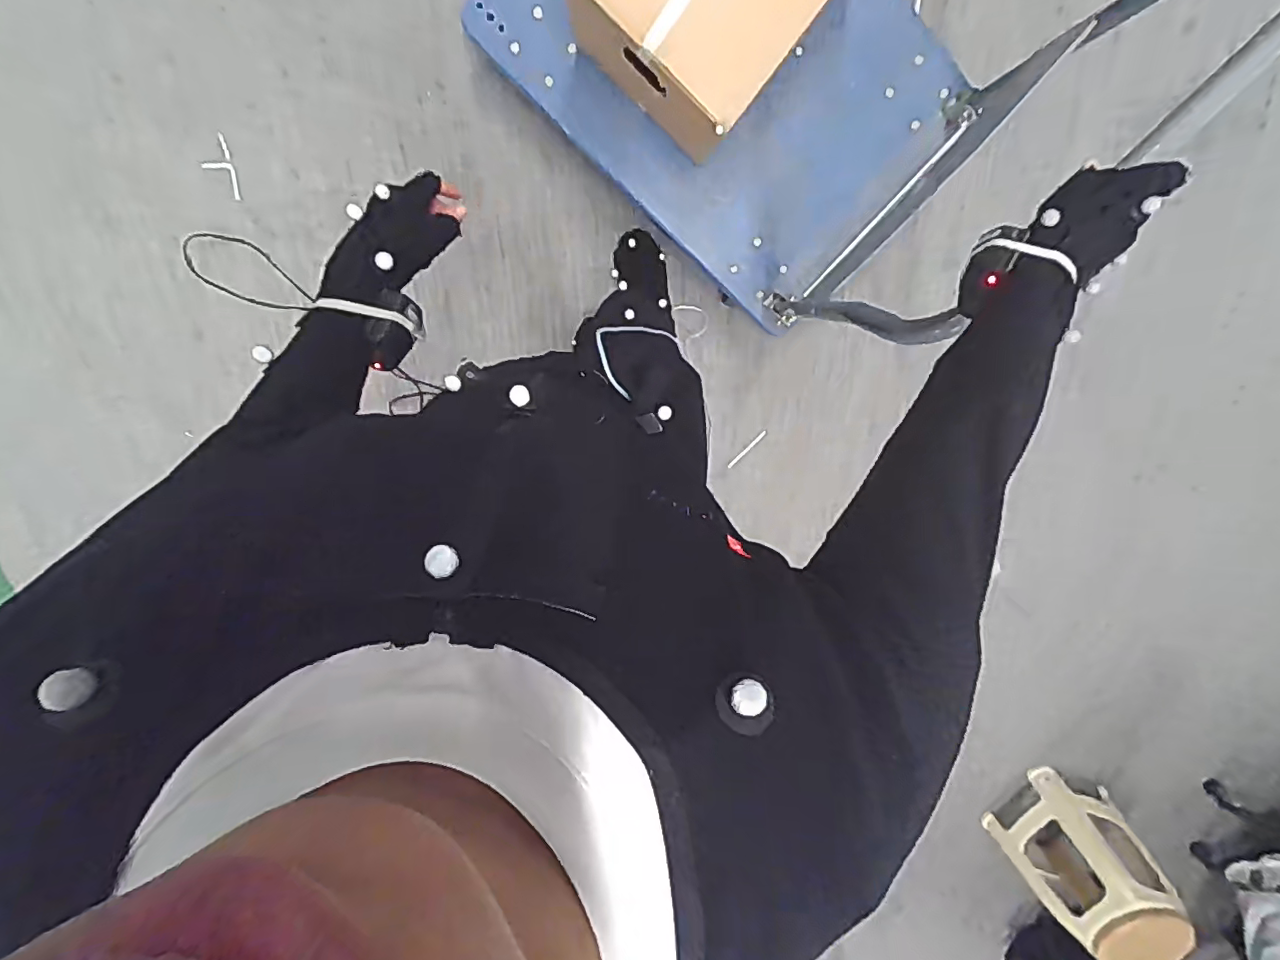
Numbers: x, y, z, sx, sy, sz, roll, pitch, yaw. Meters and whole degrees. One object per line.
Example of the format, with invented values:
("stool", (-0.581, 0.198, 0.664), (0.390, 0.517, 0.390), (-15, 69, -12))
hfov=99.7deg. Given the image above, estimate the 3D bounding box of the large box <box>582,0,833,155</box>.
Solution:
("large box", (0.147, -0.815, 0.846), (0.320, 0.320, 0.408), (36, 109, -13))
